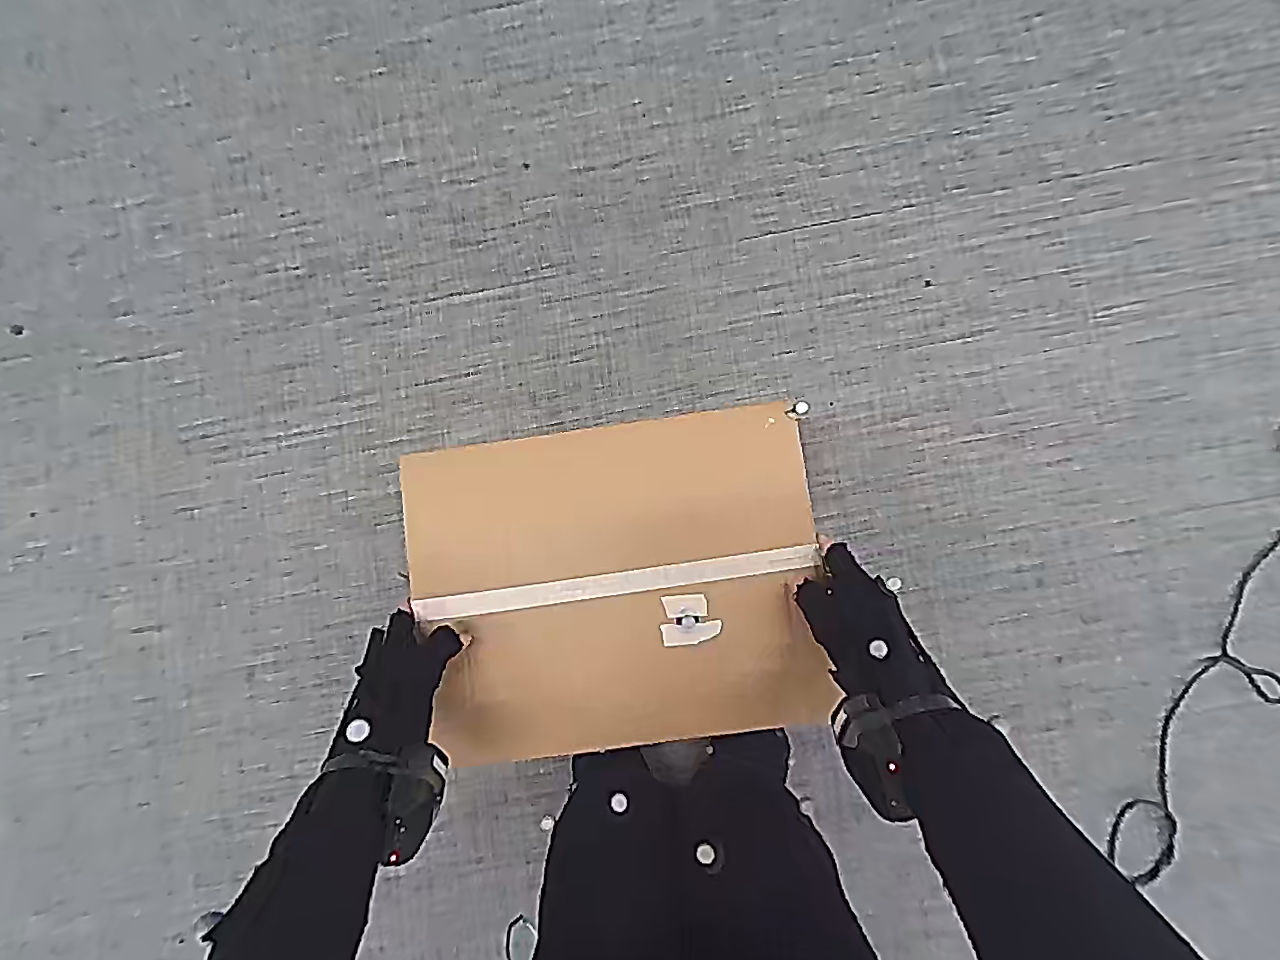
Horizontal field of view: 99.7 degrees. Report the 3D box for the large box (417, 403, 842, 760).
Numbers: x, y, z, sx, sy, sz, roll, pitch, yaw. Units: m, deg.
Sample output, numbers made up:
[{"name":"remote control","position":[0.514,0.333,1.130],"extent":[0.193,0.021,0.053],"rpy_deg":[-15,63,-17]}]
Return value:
[{"name":"large box","position":[-0.015,0.115,0.696],"extent":[0.408,0.320,0.320],"rpy_deg":[-8,85,0]}]
